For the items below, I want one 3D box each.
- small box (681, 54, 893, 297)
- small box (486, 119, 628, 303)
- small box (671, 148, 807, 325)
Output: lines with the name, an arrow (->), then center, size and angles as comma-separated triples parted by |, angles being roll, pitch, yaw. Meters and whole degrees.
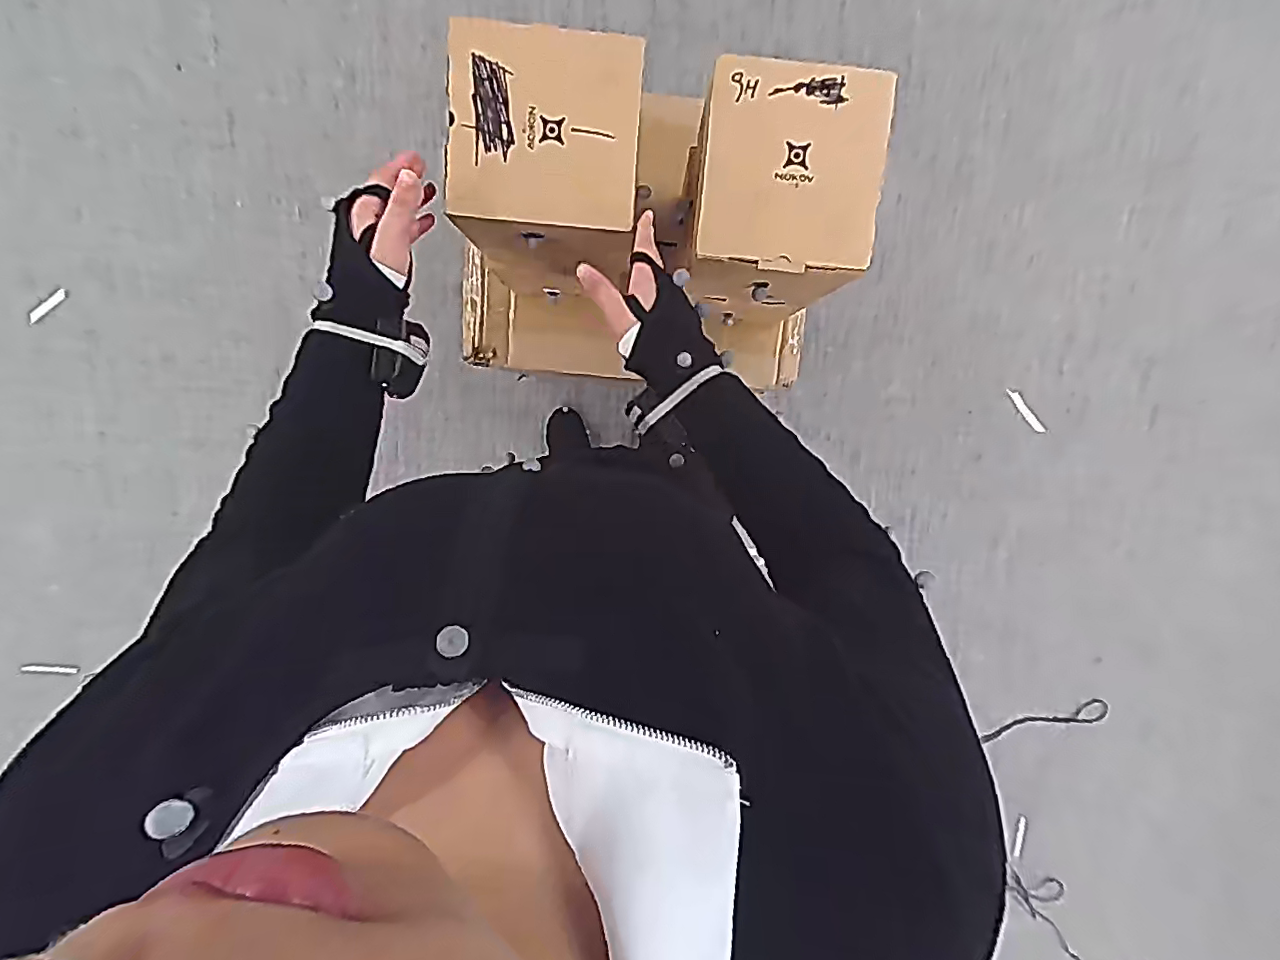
small box -> 0.137, -0.301, 0.577 | 0.168, 0.176, 0.179 | 6, 99, -2
small box -> -0.104, -0.349, 0.734 | 0.168, 0.176, 0.179 | 4, 99, -1
small box -> 0.133, -0.320, 0.741 | 0.168, 0.176, 0.179 | 4, 99, 0
